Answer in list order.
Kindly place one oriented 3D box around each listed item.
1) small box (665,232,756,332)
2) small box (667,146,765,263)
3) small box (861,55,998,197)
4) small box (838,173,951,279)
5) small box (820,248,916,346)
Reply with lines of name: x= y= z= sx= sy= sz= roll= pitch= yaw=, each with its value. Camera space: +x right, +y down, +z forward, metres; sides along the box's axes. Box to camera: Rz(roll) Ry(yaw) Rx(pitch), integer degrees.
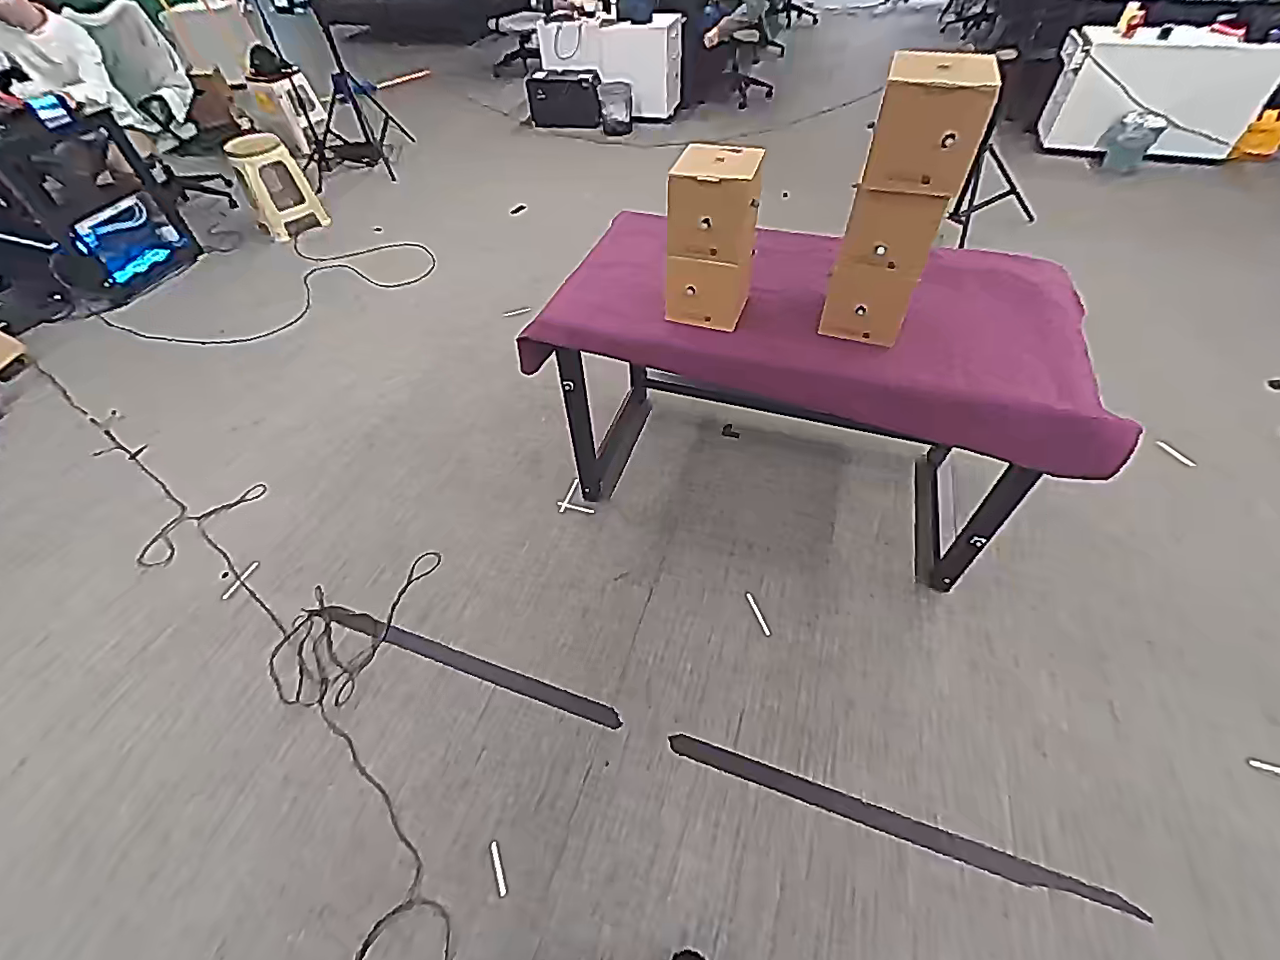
small box: x=0.164 y=-0.472 z=1.270 sx=0.168 sy=0.176 sz=0.179 roll=15 pitch=51 yaw=14
small box: x=0.160 y=-0.584 z=1.149 sx=0.168 sy=0.176 sz=0.179 roll=13 pitch=51 yaw=12
small box: x=0.500 y=-0.621 z=0.952 sx=0.168 sy=0.176 sz=0.179 roll=14 pitch=52 yaw=13
small box: x=0.511 y=-0.534 z=1.090 sx=0.168 sy=0.176 sz=0.179 roll=16 pitch=53 yaw=16
small box: x=0.513 y=-0.426 z=1.214 sx=0.168 sy=0.176 sz=0.179 roll=17 pitch=52 yaw=15
